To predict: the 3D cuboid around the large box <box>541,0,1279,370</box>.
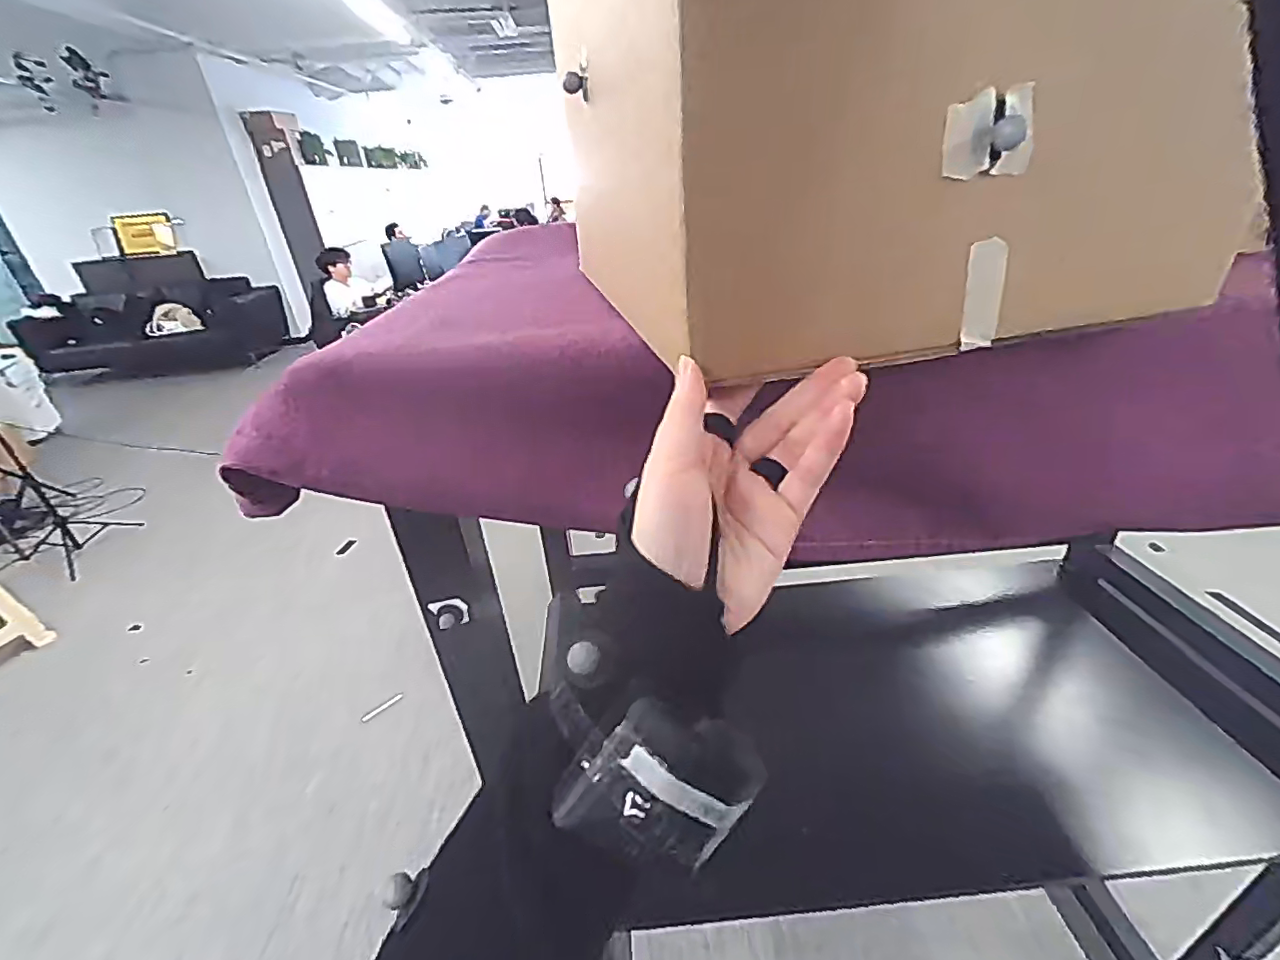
[{"bbox_3d":[0.114,-0.292,0.366,0.320,0.320,0.408,-10,29,-10],"label":"large box"}]
